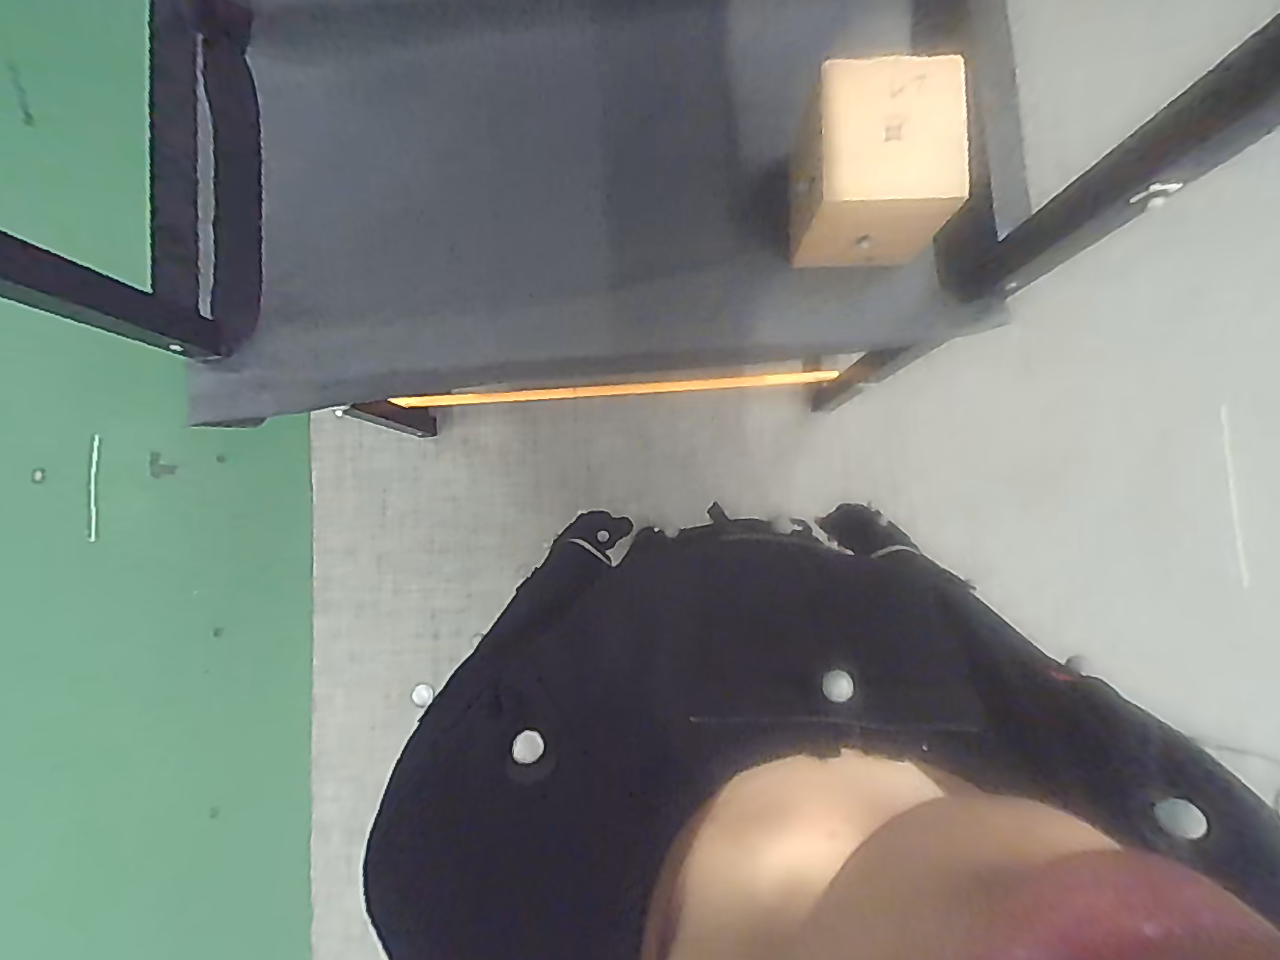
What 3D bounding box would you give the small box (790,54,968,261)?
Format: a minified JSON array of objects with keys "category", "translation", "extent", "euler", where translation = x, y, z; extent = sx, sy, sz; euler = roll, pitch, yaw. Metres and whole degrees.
[{"category":"small box","translation":[0.297,-0.402,0.704],"extent":[0.168,0.176,0.179],"euler":[0,86,2]}]
